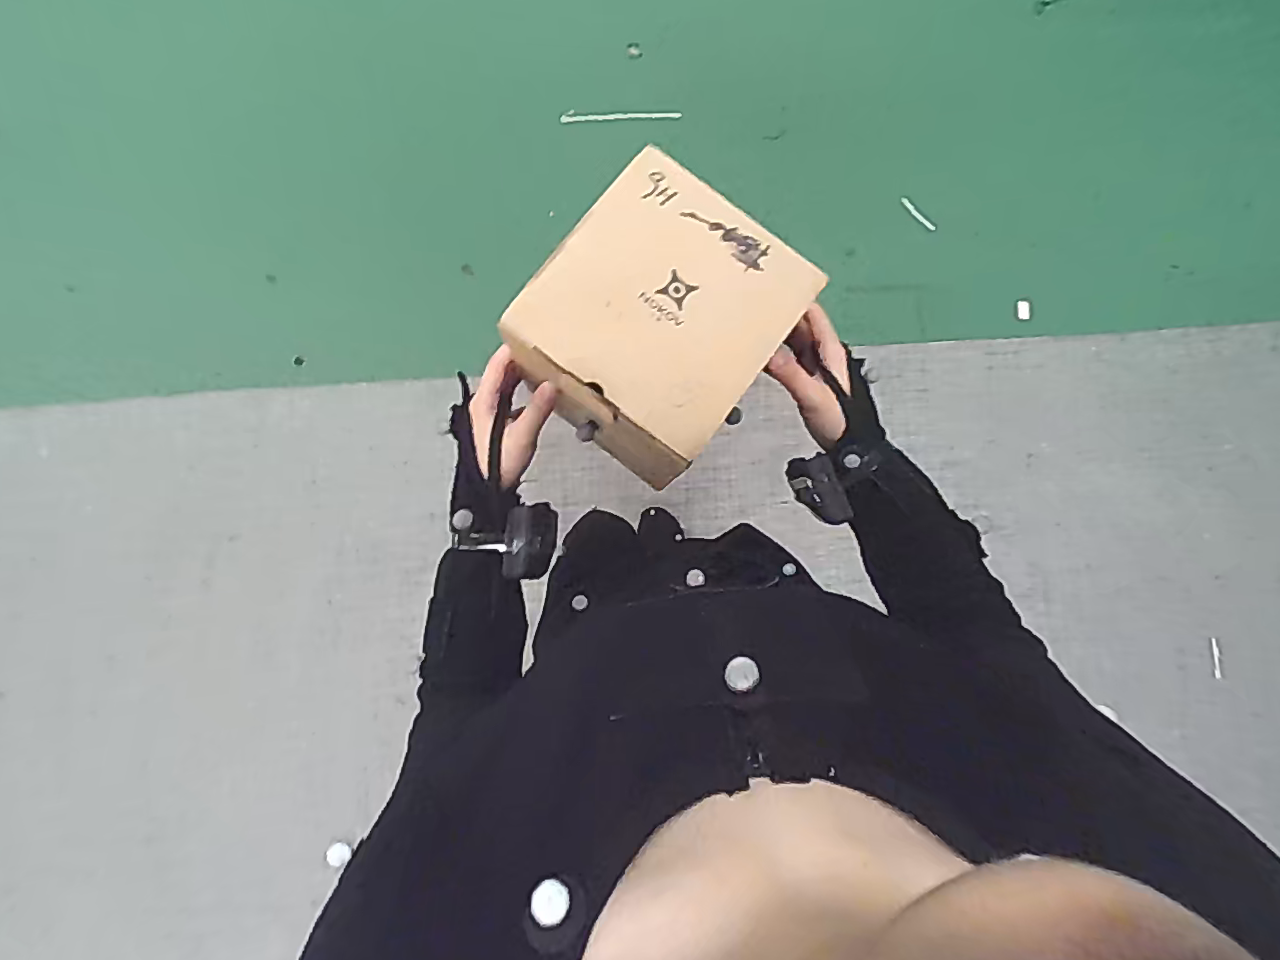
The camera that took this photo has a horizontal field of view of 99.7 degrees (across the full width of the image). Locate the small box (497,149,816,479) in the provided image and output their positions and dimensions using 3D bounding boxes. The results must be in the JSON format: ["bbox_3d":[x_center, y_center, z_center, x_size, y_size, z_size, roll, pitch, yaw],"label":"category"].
[{"bbox_3d":[0.011,-0.118,0.462,0.168,0.176,0.179,37,82,1],"label":"small box"}]
